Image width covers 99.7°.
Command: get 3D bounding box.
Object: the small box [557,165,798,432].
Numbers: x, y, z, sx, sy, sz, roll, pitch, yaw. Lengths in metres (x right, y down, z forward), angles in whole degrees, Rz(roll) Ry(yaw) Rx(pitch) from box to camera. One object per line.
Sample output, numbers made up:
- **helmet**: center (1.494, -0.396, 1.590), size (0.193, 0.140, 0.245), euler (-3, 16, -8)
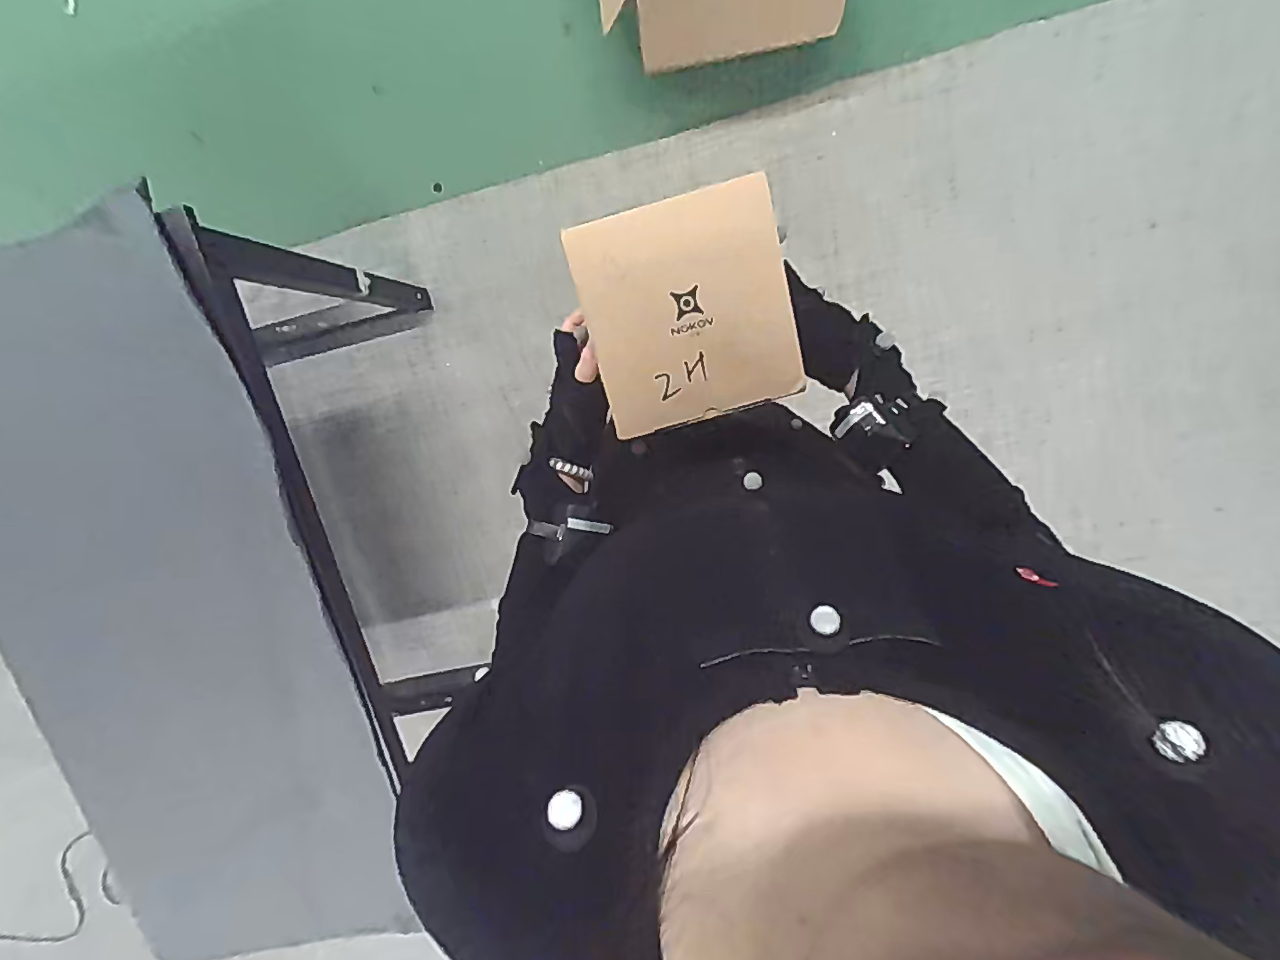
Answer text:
- **small box**: center (0.031, -0.159, 0.510), size (0.168, 0.176, 0.179), euler (-14, 104, 4)
